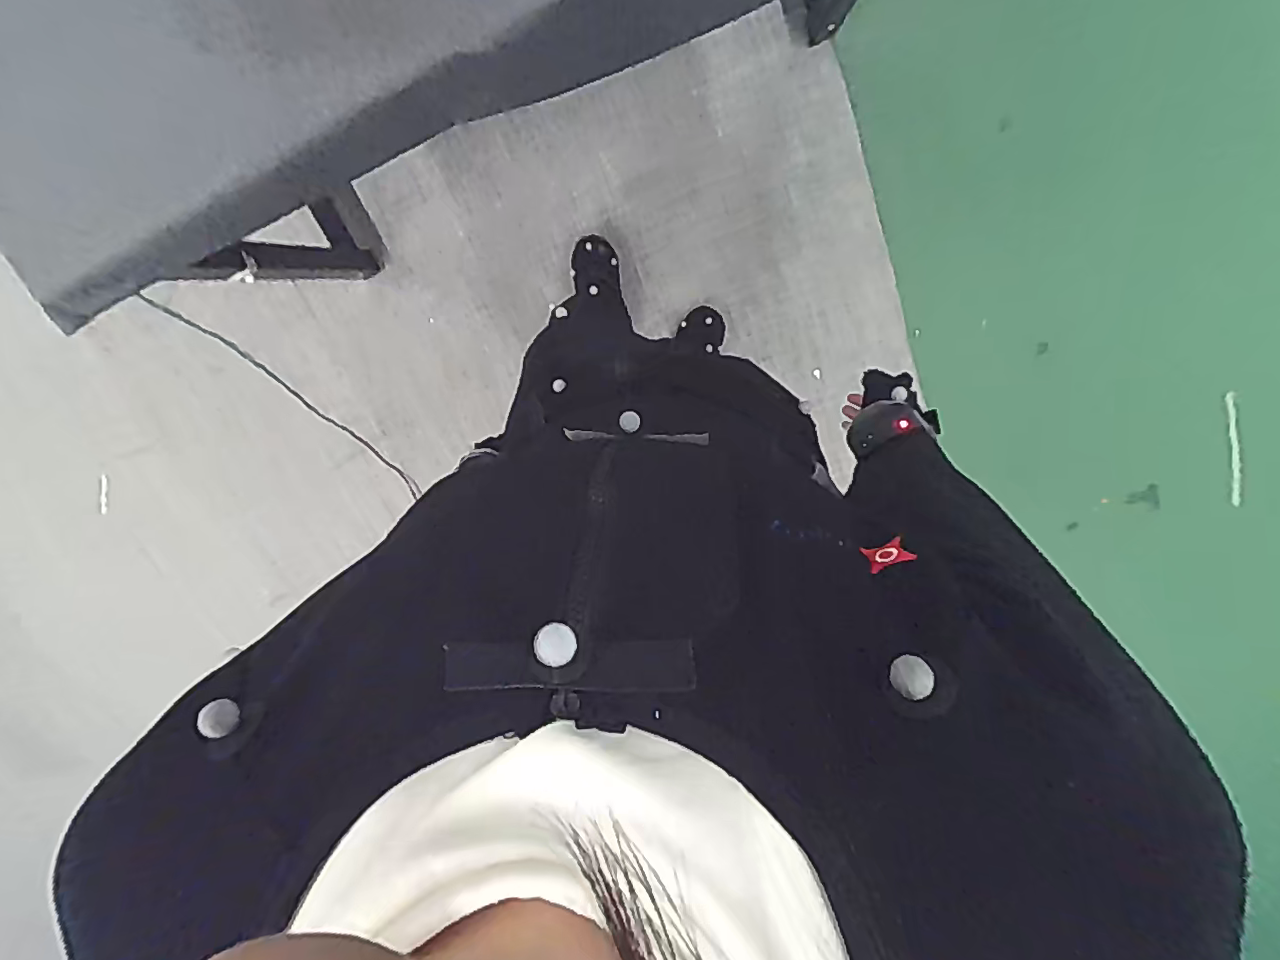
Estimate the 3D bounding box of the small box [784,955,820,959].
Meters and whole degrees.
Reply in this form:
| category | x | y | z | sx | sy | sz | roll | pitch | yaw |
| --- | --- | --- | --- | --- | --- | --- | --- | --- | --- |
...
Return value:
| category | x | y | z | sx | sy | sz | roll | pitch | yaw |
| --- | --- | --- | --- | --- | --- | --- | --- | --- | --- |
| small box | 0.493 | 1.570 | 1.614 | 0.179 | 0.176 | 0.168 | -23 | 105 | 12 |
